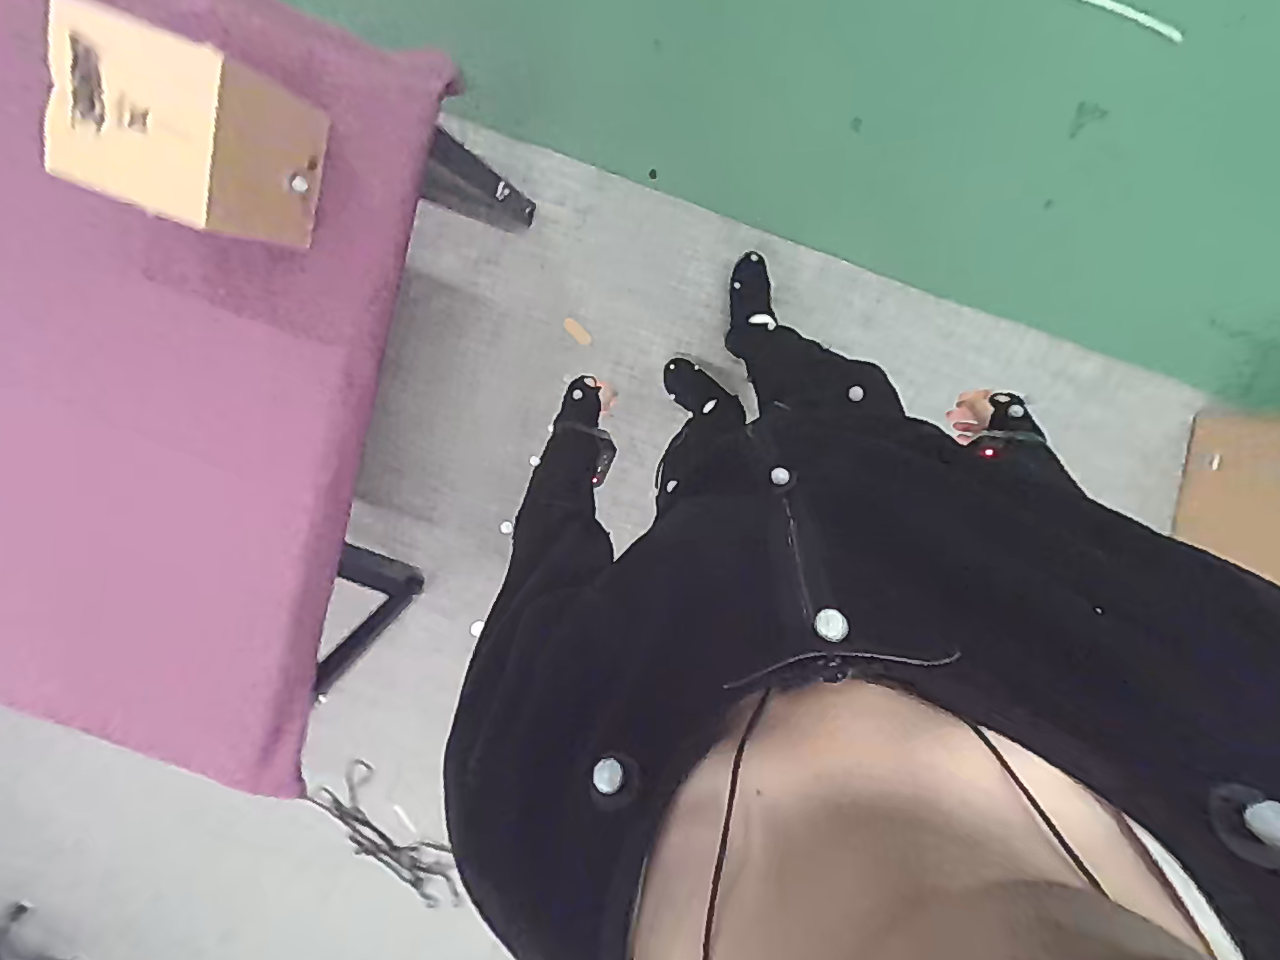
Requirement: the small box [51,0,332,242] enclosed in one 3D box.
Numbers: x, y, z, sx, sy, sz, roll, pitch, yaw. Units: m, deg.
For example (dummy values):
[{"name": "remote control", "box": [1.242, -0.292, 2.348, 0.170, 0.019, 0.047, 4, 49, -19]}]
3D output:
[{"name": "small box", "box": [-0.497, -0.389, 0.617, 0.179, 0.176, 0.168, 21, 107, -1]}]
